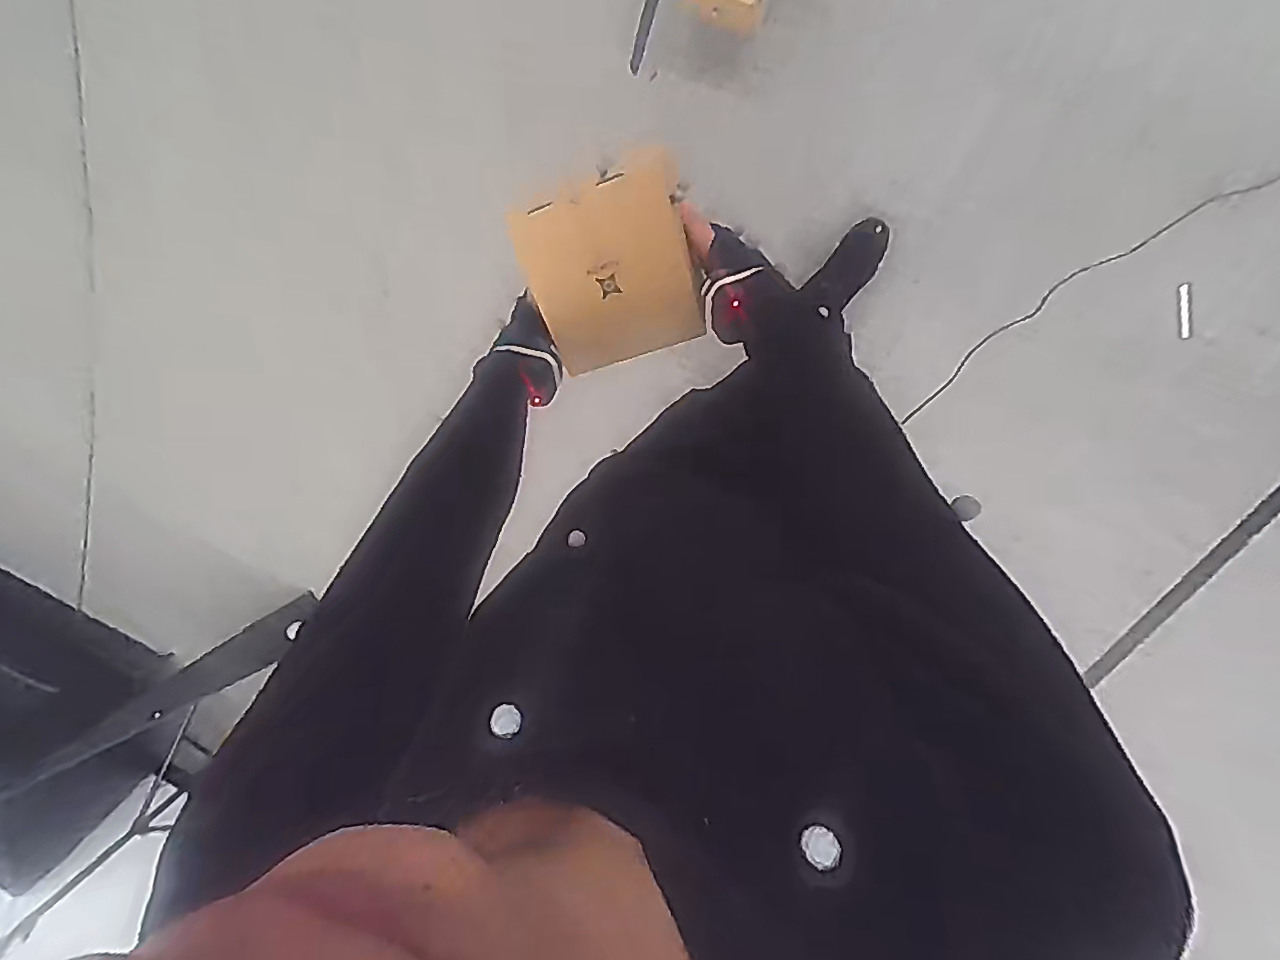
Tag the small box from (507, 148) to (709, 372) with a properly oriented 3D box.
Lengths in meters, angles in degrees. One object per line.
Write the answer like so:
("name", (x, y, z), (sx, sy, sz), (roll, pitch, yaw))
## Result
("small box", (-0.019, -0.254, 0.618), (0.168, 0.176, 0.179), (-14, 121, 16))
